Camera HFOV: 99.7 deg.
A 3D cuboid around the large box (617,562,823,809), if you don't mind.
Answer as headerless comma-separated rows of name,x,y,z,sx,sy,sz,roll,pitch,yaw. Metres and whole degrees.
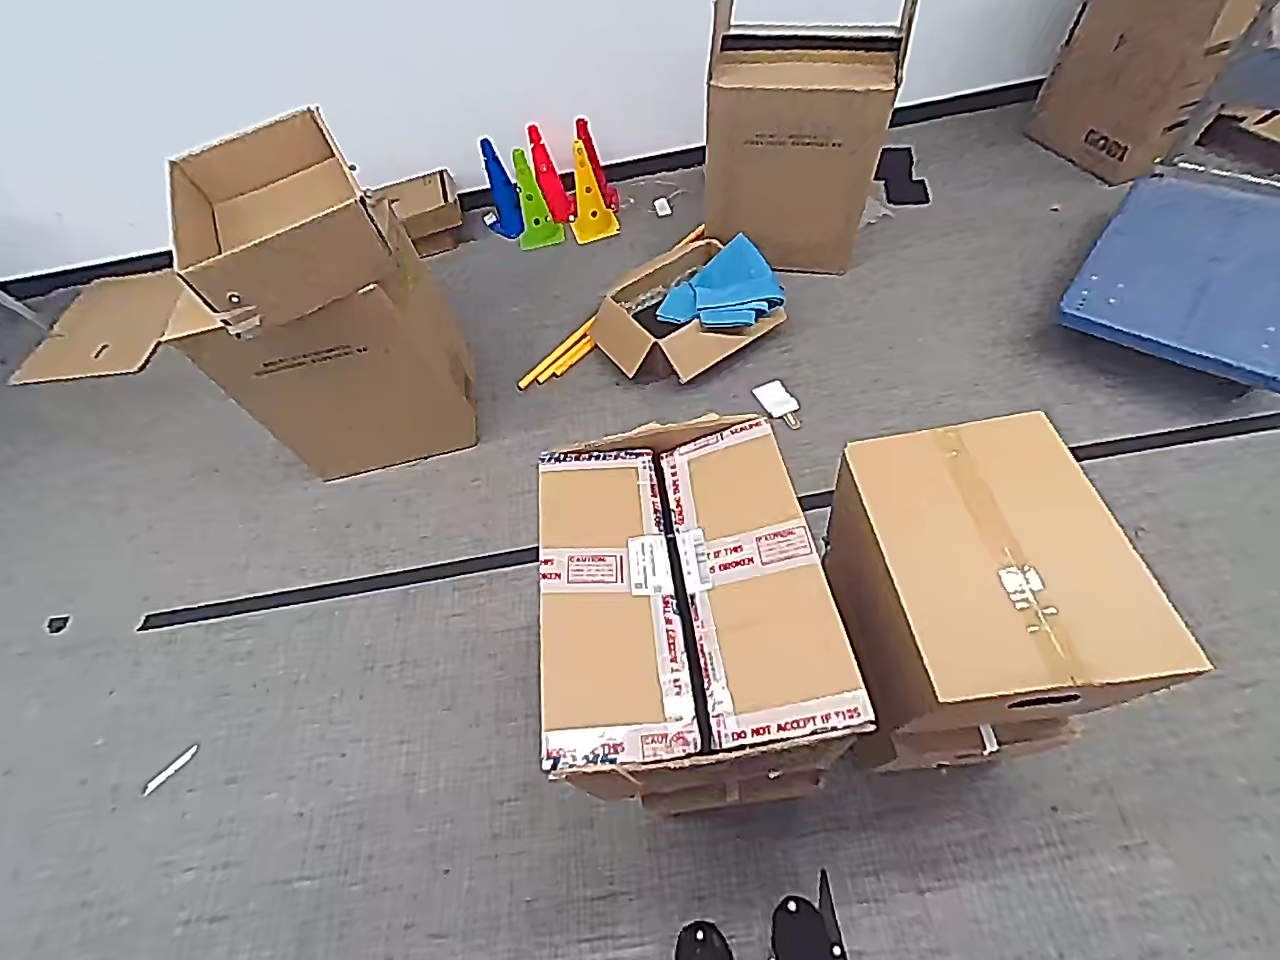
large box,0.147,0.438,1.143,0.320,0.320,0.408,-11,56,2
